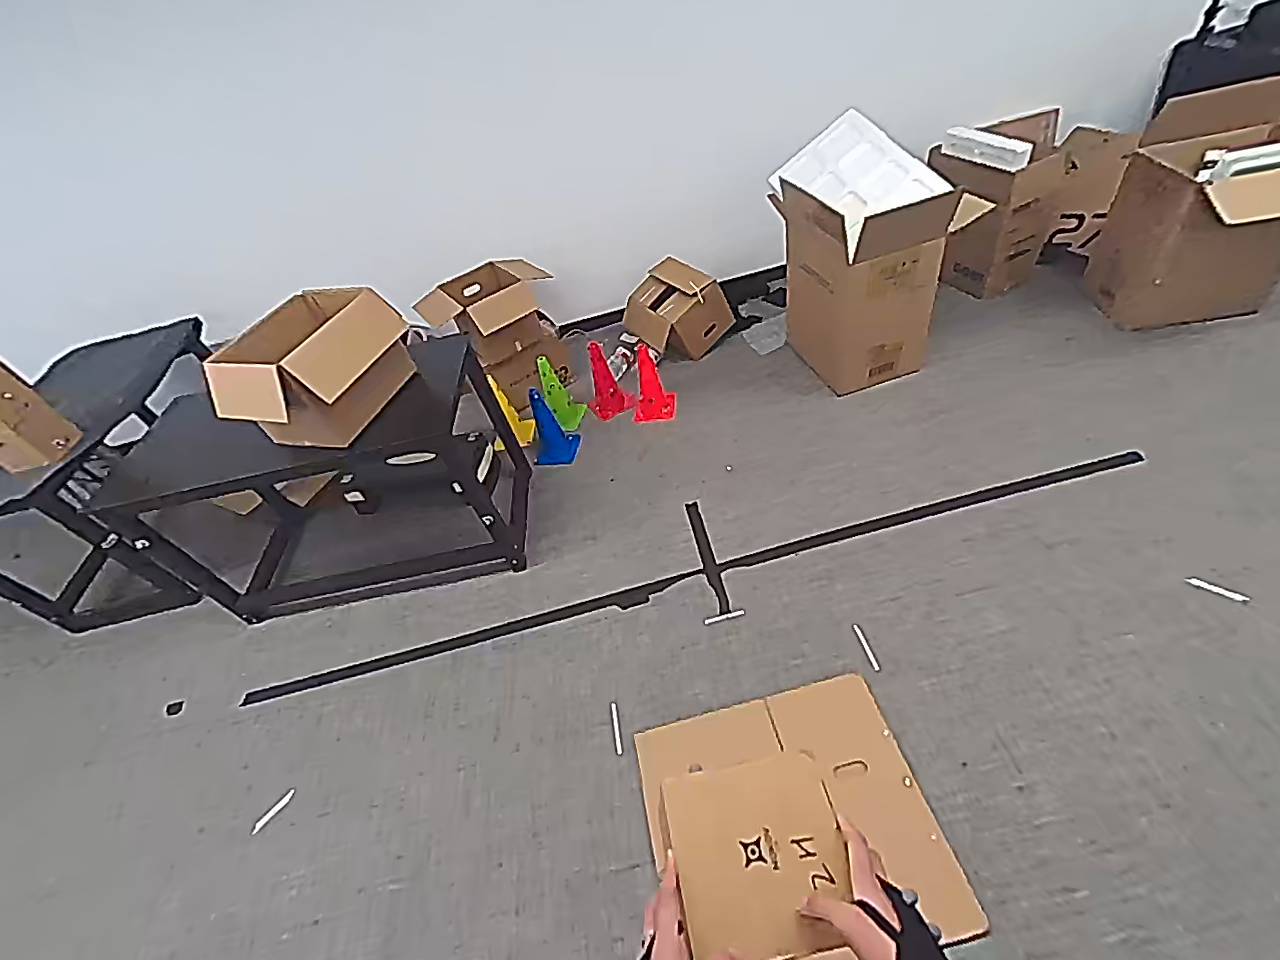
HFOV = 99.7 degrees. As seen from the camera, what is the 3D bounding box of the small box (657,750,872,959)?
[{"bbox_3d":[0.118,0.424,0.598,0.179,0.176,0.168,-7,48,-7],"label":"small box"}]
